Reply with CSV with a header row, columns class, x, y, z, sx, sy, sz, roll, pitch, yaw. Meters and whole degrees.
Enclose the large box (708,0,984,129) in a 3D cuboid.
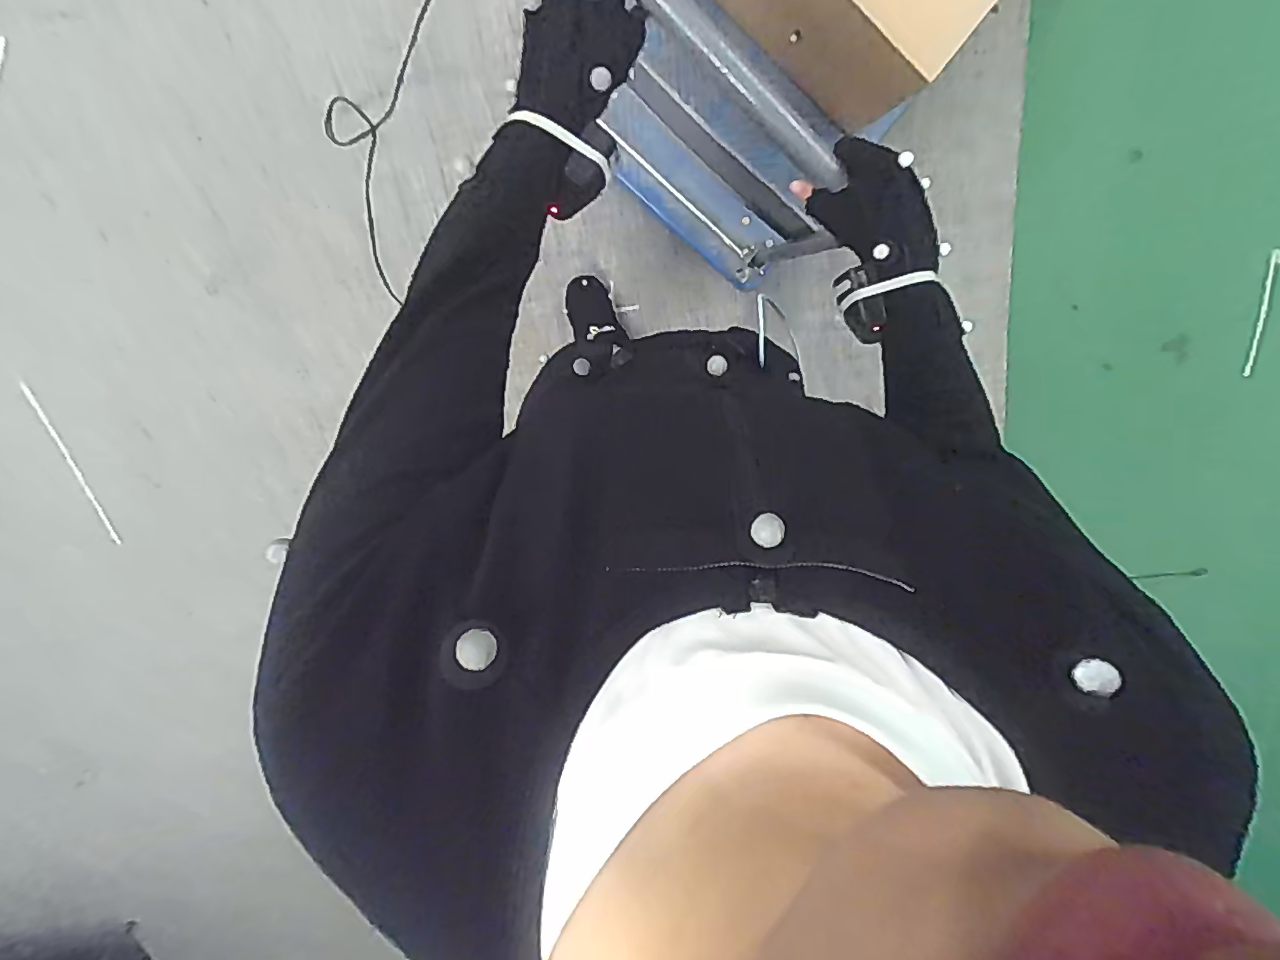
class,x,y,z,sx,sy,sz,roll,pitch,yaw
large box,0.349,-0.867,0.863,0.408,0.320,0.320,35,105,-13
